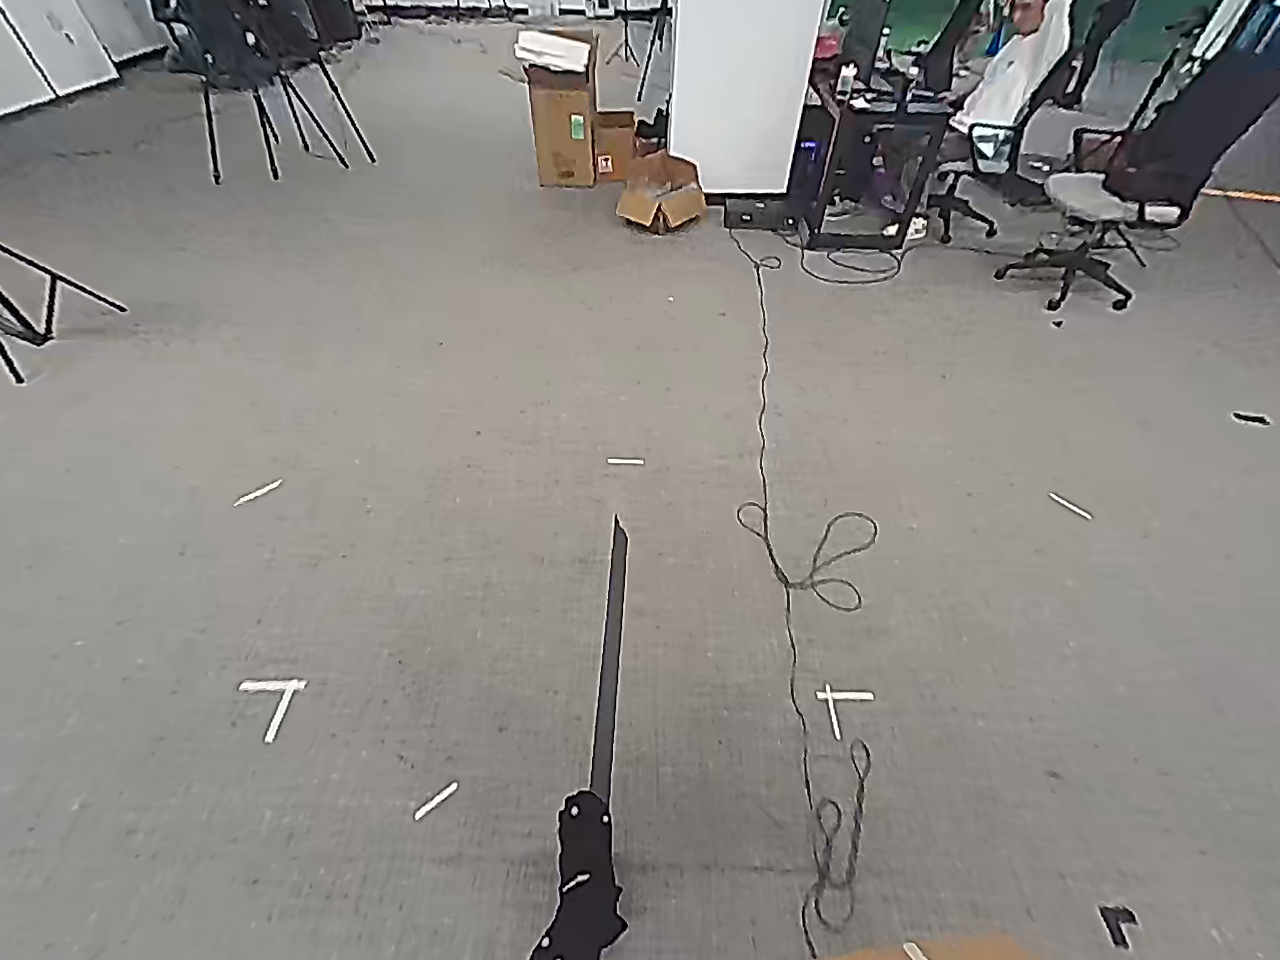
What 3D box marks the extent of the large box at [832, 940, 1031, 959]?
[{"bbox_3d":[0.418,0.802,0.575,0.320,0.408,0.320,-6,79,-3],"label":"large box"}]
